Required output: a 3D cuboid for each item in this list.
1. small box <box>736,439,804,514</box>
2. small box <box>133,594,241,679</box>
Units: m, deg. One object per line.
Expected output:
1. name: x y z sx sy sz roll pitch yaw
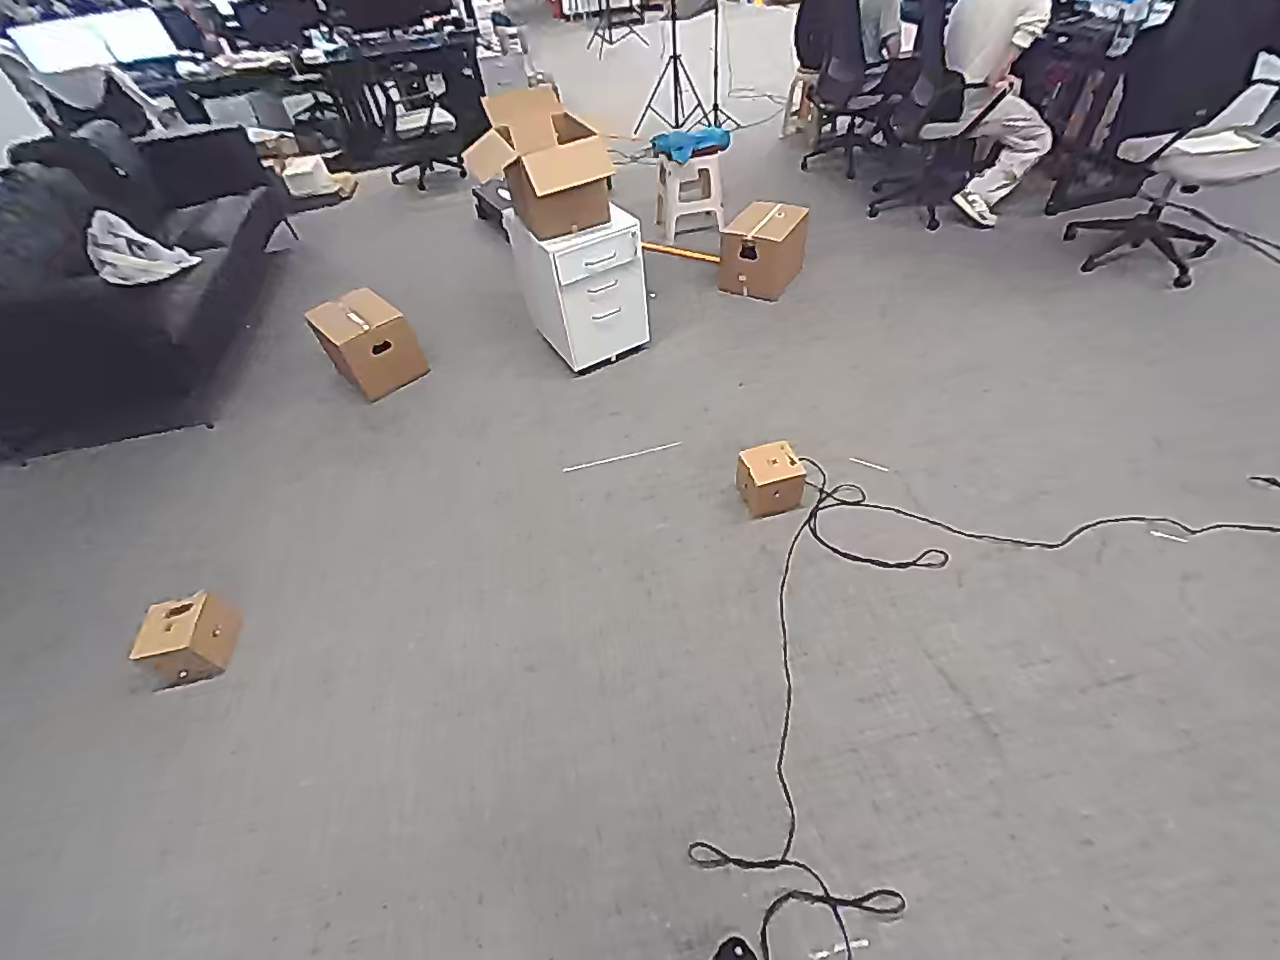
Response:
1. small box: 0.440 -0.007 1.850 0.179 0.176 0.168 -15 49 -6
2. small box: -1.361 0.477 1.643 0.168 0.176 0.179 -12 48 -4
